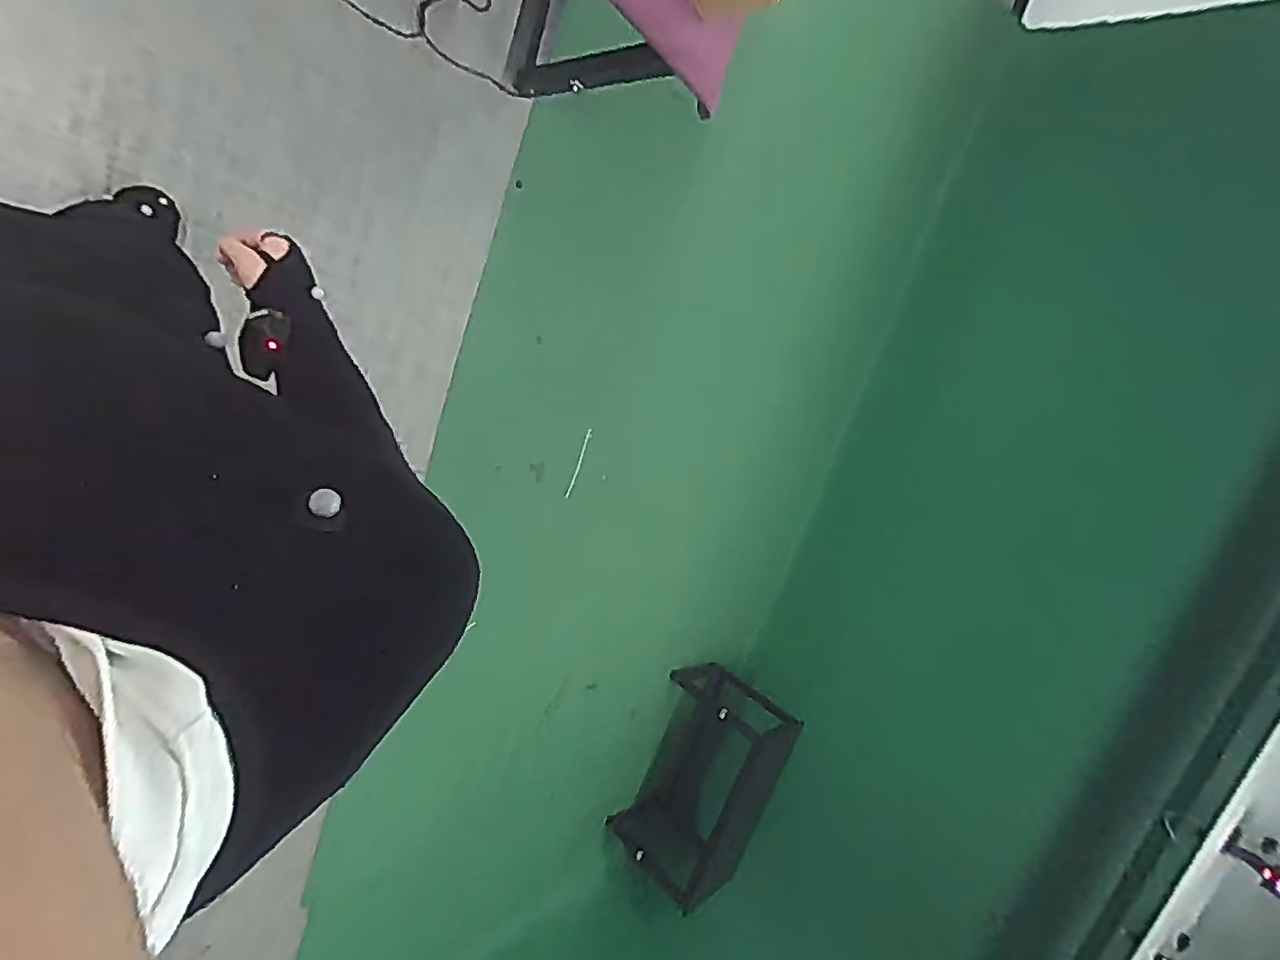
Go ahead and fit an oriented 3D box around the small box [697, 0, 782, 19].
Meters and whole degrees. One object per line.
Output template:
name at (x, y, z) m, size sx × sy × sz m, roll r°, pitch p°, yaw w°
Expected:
small box at (0.172, -0.958, 0.938) m, size 0.168 × 0.176 × 0.179 m, roll 15°, pitch 99°, yaw -50°
